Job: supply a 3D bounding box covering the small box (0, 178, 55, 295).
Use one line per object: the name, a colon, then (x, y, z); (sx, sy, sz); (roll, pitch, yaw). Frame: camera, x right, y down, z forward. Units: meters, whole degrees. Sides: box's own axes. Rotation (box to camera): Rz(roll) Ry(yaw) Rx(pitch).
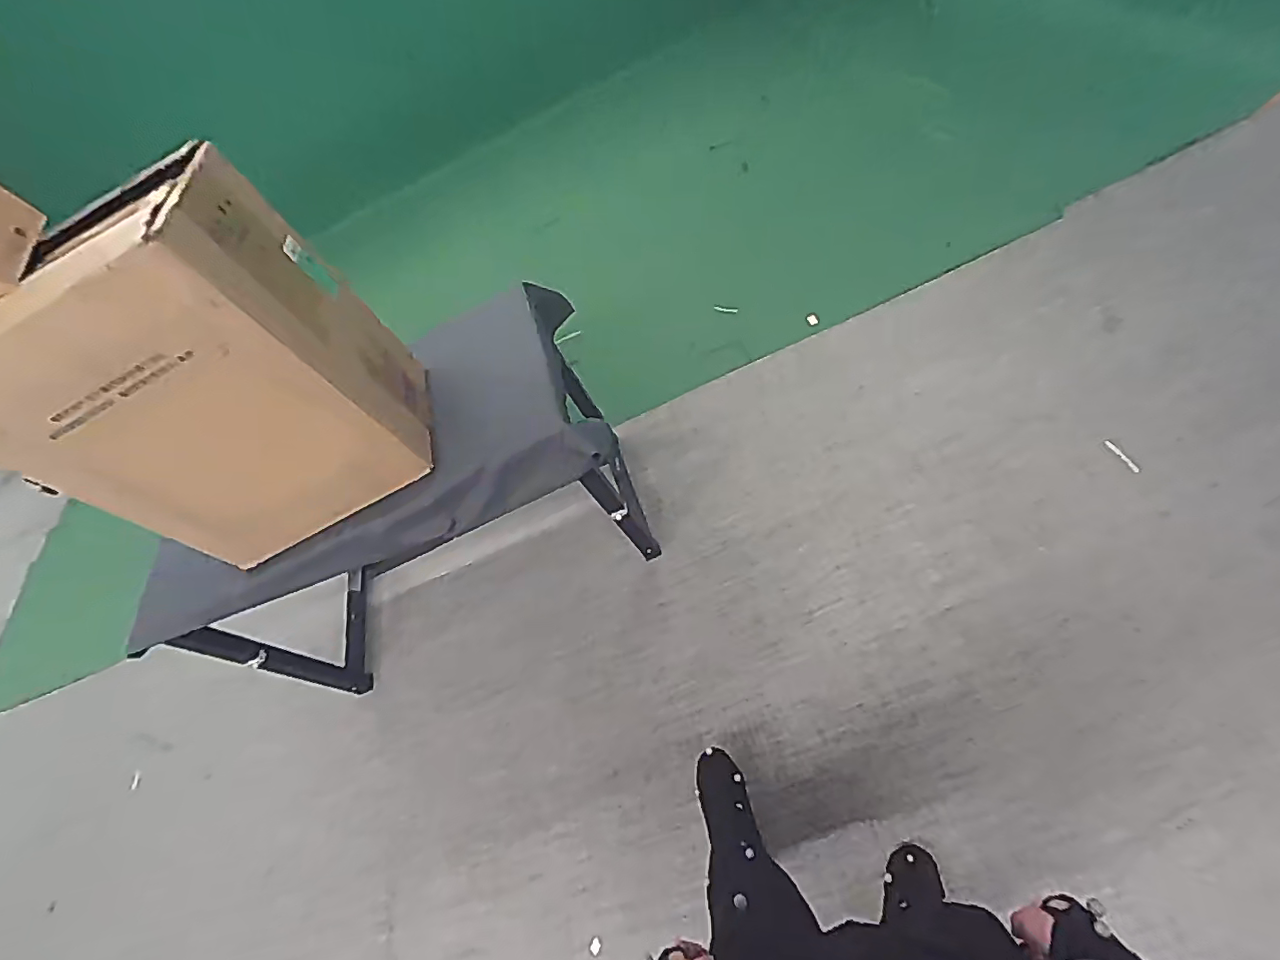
small box: (-1.072, -0.385, 0.822); (0.179, 0.176, 0.168); (-14, 66, 12)
